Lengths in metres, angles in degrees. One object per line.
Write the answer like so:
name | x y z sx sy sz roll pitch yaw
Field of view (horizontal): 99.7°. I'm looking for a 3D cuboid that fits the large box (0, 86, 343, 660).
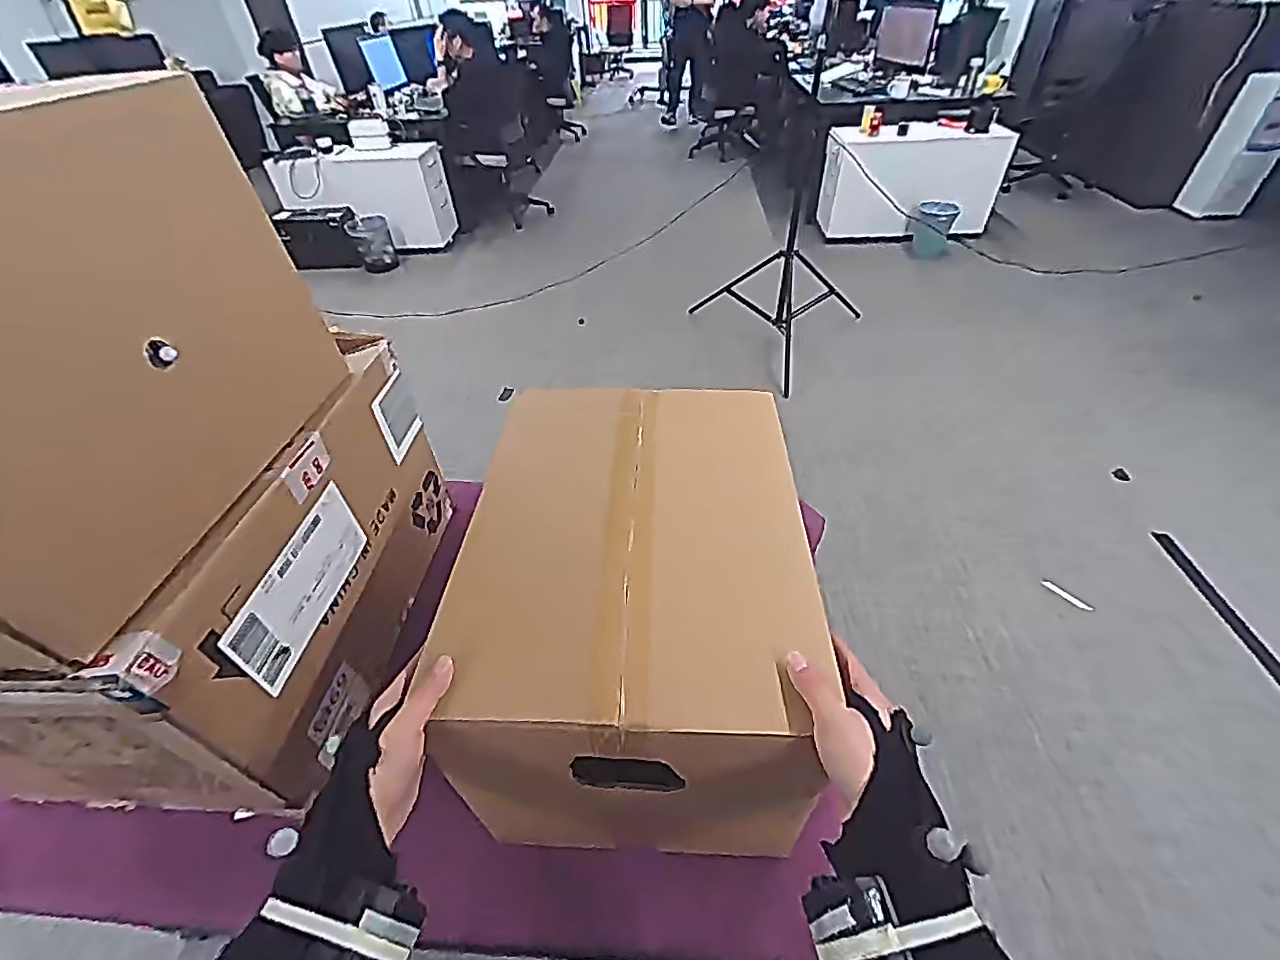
large box | -0.547 -0.106 0.464 0.320 0.320 0.408 -2 43 8
